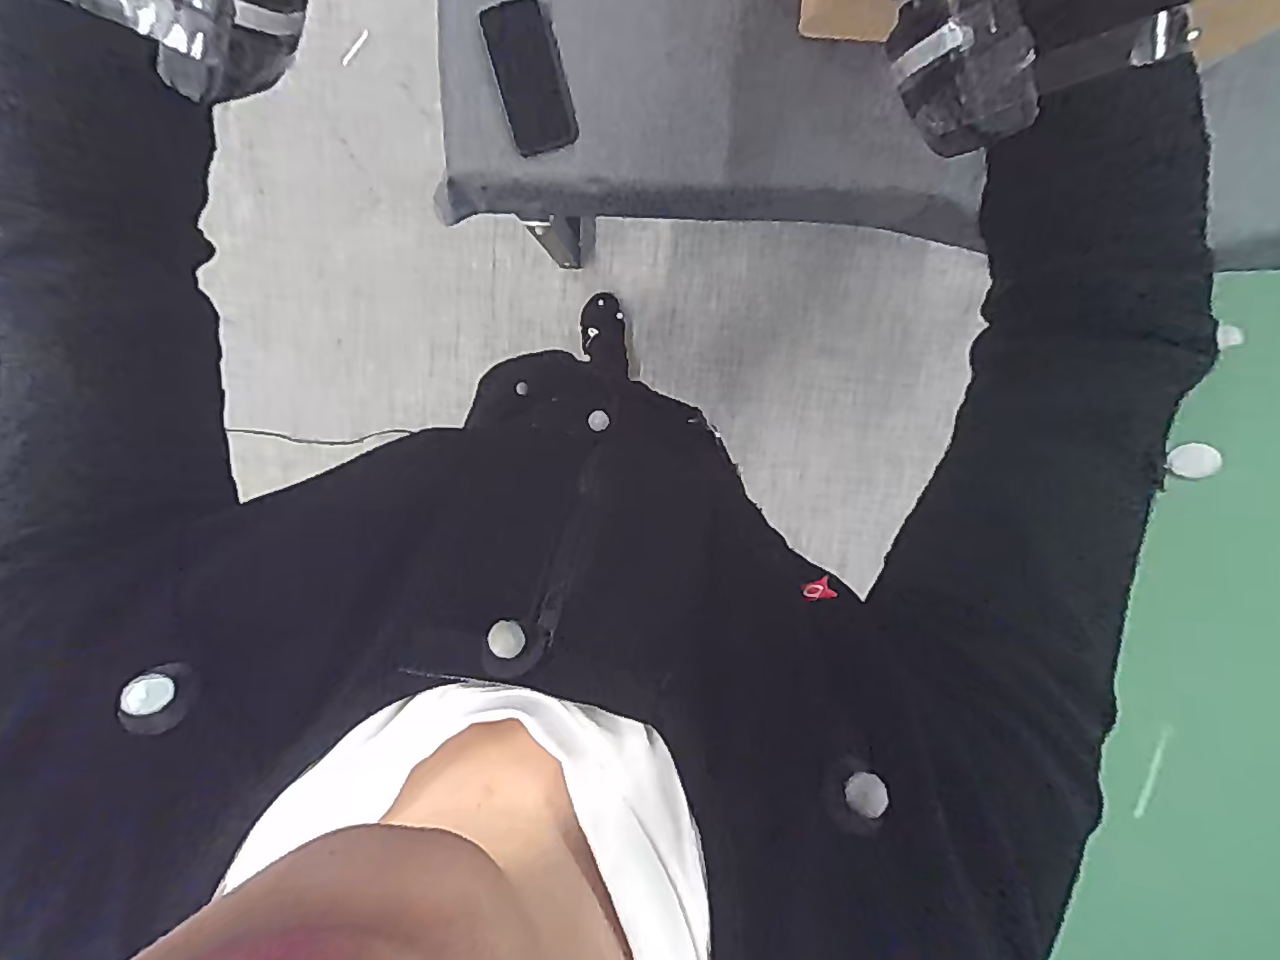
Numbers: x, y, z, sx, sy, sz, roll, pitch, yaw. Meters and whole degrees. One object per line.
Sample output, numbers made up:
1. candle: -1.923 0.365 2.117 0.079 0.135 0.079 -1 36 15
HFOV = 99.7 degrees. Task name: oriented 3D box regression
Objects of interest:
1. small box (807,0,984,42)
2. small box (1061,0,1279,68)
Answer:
1. small box: 0.273 -0.564 0.521 0.179 0.176 0.168 3 101 0
2. small box: 0.559 -0.542 0.523 0.168 0.176 0.179 5 100 -1
